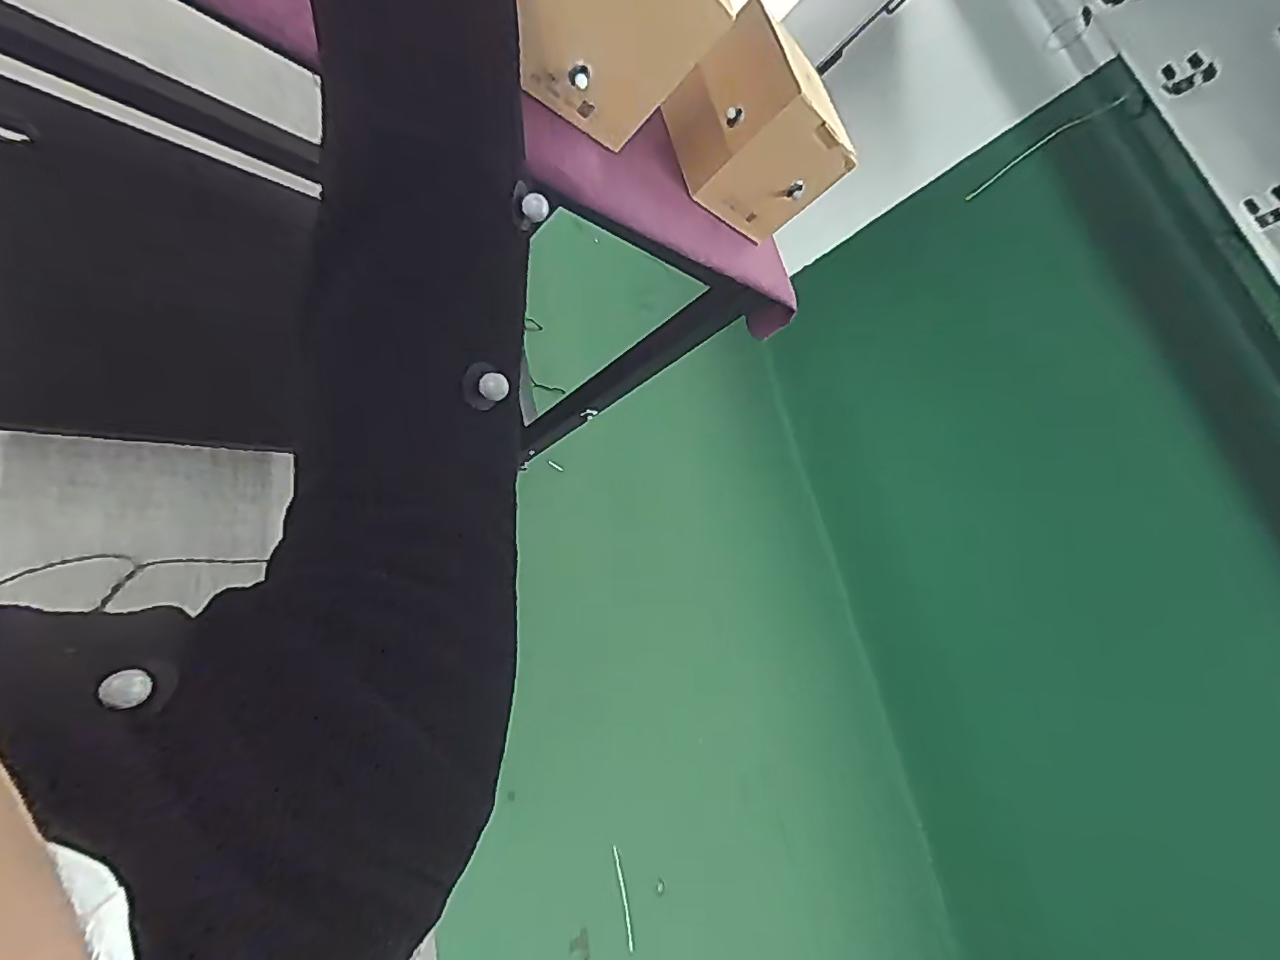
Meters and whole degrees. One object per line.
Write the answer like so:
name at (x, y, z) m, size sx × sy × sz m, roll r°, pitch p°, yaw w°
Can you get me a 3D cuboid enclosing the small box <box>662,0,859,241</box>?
small box at (0.155, -0.461, 0.724) m, size 0.168 × 0.176 × 0.179 m, roll 6°, pitch 63°, yaw -46°
